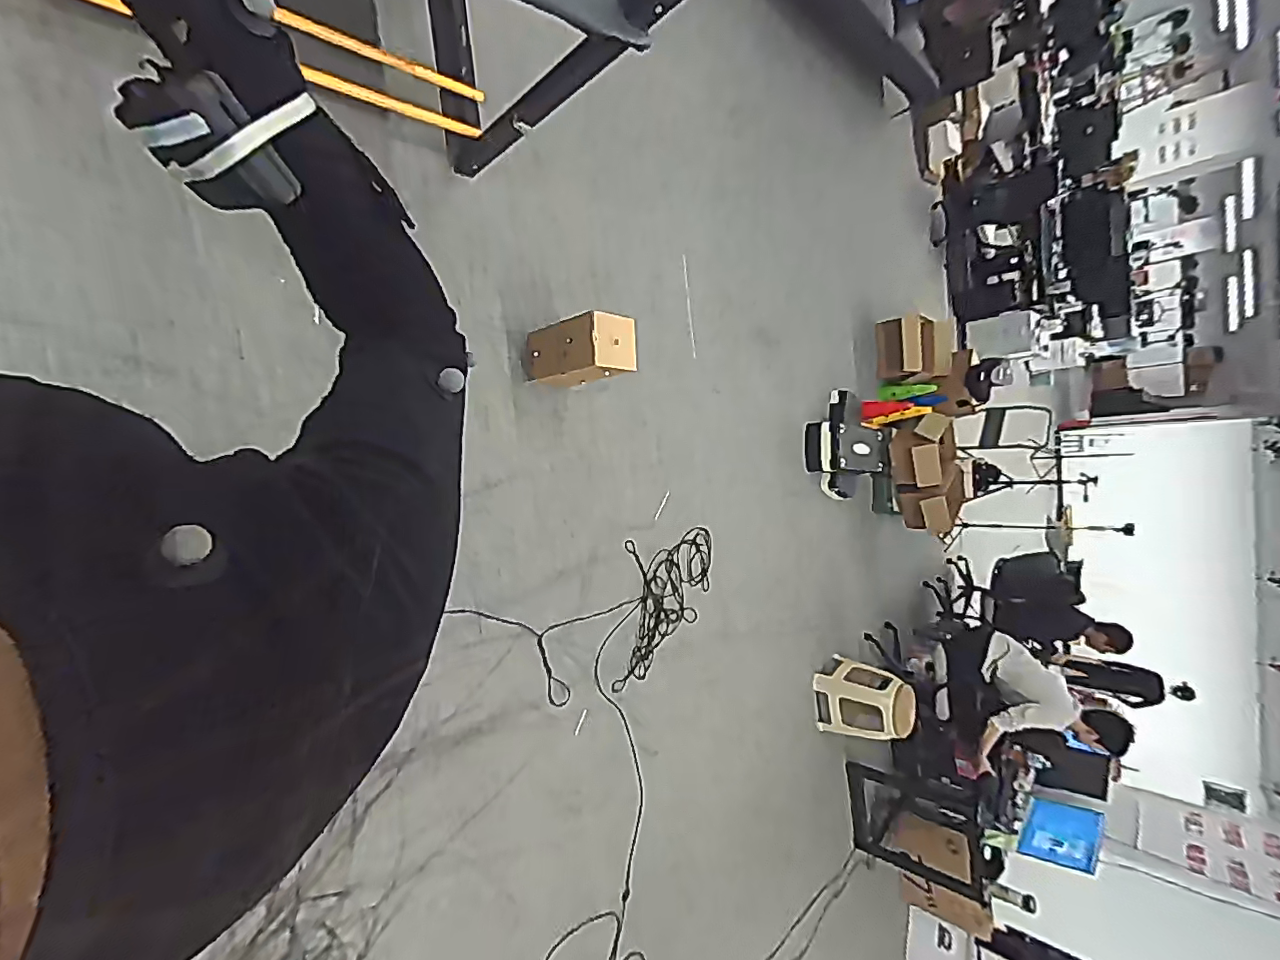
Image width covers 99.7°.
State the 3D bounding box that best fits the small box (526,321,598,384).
[{"bbox_3d":[-0.262,-0.421,1.815,0.179,0.176,0.168,-2,90,-46],"label":"small box"}]
